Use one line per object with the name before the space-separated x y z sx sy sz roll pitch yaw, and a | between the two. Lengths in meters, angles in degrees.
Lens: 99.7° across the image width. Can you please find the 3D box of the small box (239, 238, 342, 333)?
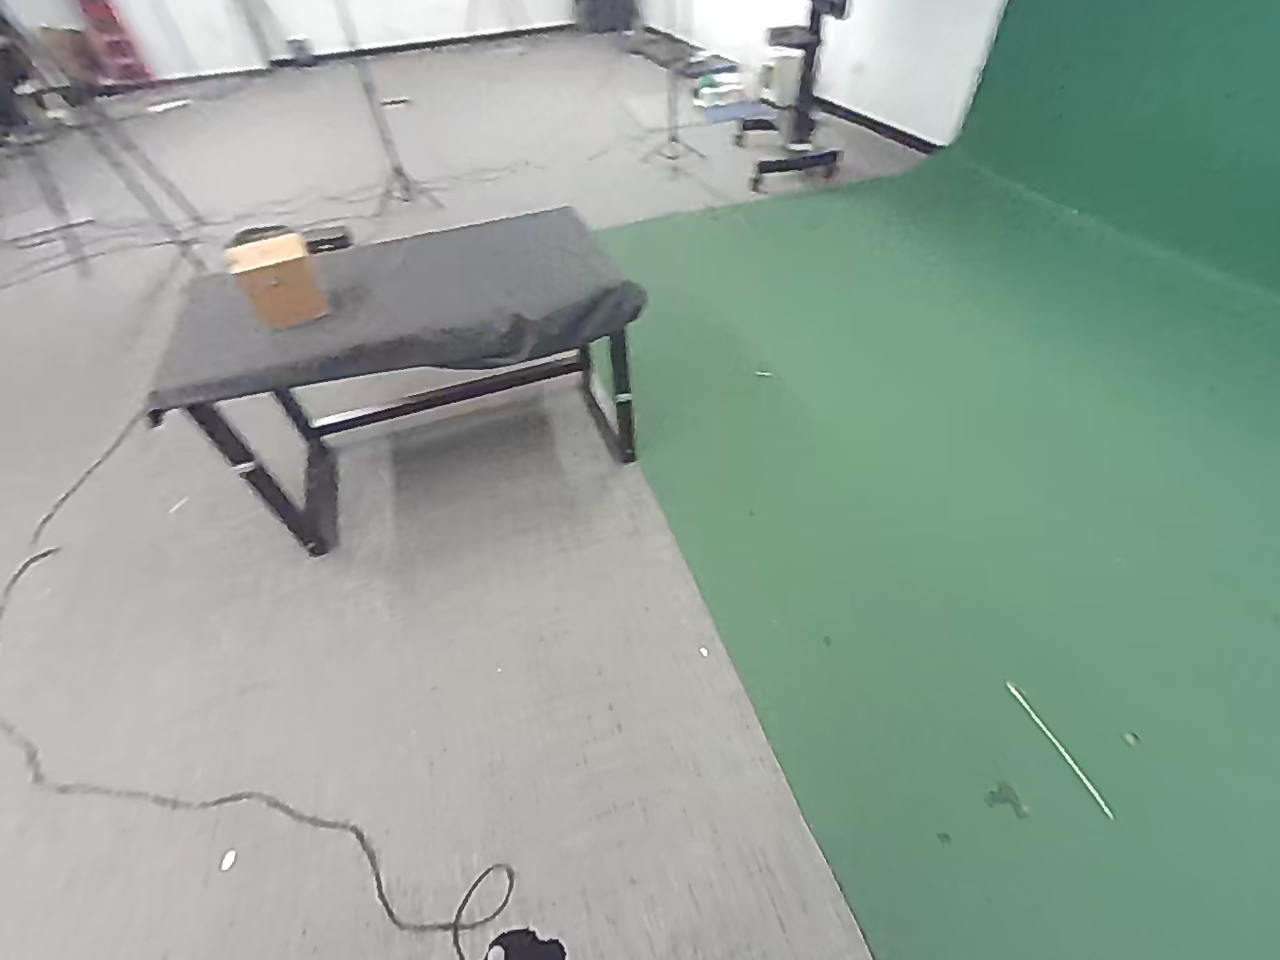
small box | -0.936 -0.519 1.452 0.179 0.176 0.168 -23 51 -18
